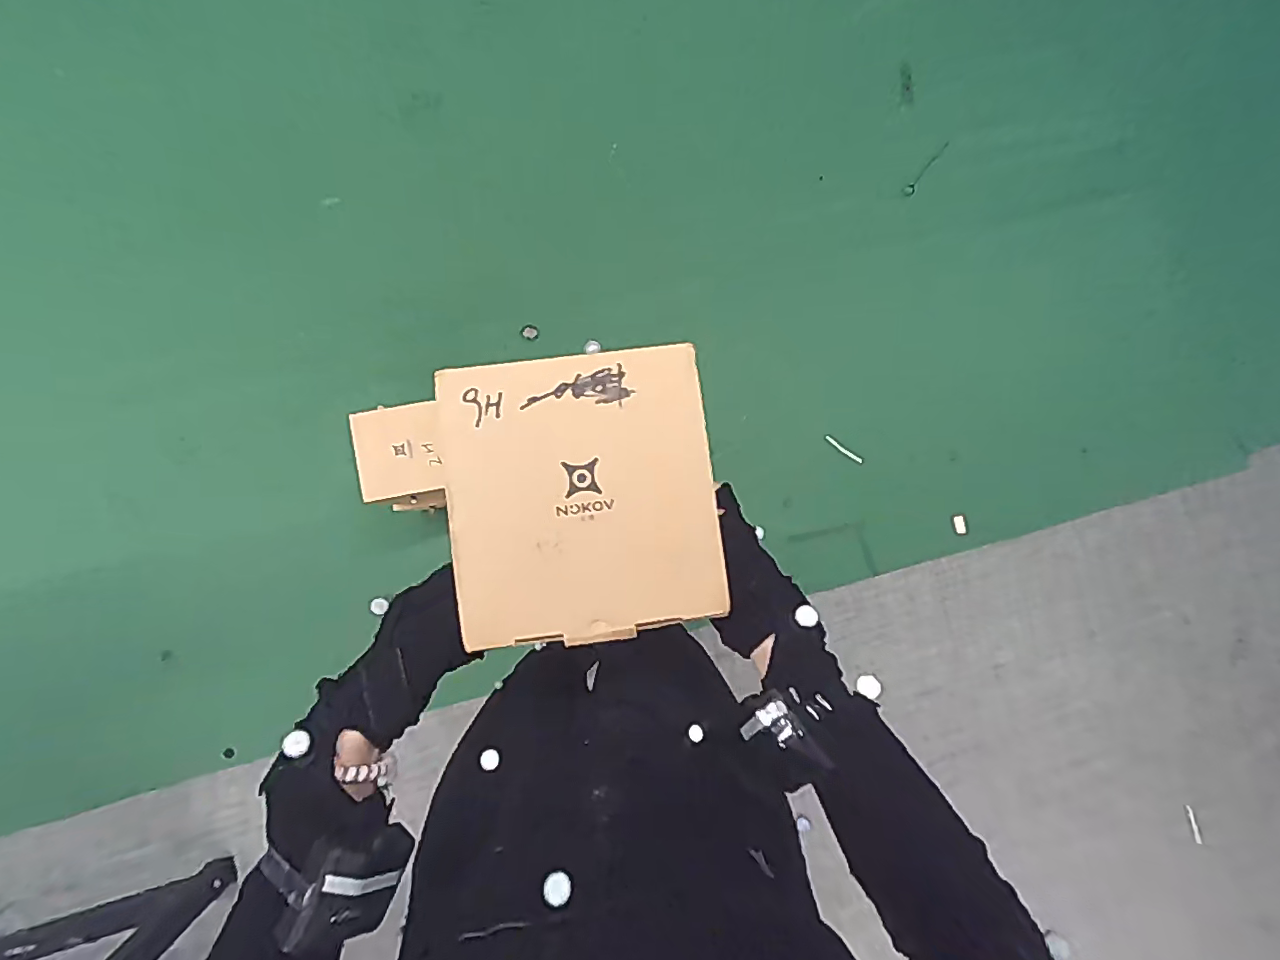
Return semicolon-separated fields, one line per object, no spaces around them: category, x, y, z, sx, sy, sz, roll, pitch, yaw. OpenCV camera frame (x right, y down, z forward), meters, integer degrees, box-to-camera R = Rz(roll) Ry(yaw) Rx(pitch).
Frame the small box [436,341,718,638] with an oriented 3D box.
small box;-0.043;0.009;0.422;0.168;0.176;0.179;-7;86;-4

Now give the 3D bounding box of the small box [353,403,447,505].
small box;-0.438;-0.045;1.074;0.179;0.176;0.168;-10;87;-7

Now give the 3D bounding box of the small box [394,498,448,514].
small box;-0.460;-0.020;1.235;0.168;0.176;0.179;-9;86;-6
